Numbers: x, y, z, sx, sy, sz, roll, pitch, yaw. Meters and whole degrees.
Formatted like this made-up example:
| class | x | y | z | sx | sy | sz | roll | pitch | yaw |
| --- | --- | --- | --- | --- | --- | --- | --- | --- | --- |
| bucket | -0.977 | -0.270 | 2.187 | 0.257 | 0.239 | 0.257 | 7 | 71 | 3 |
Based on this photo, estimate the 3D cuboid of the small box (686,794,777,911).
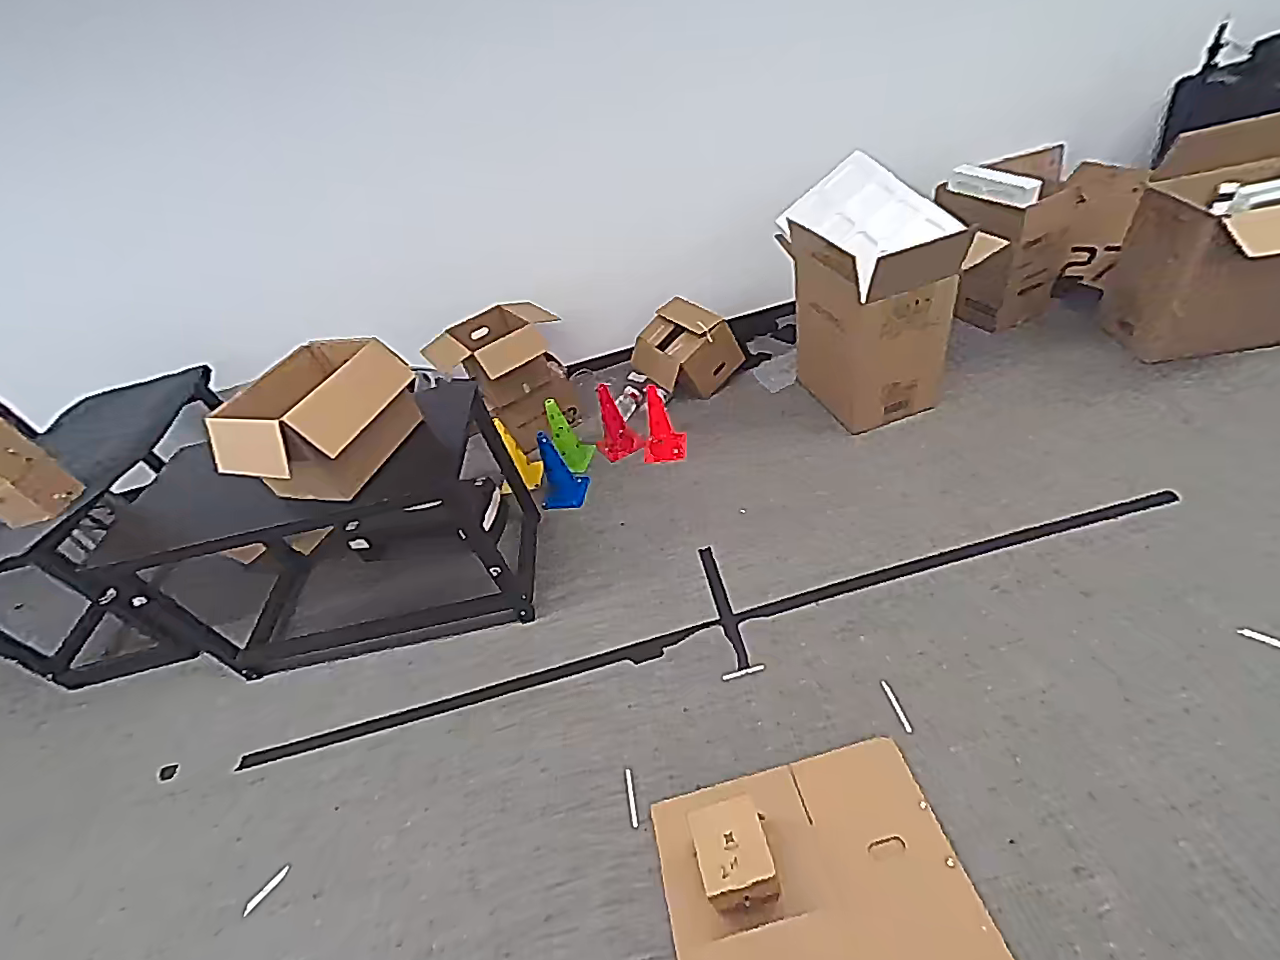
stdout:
| class | x | y | z | sx | sy | sz | roll | pitch | yaw |
| --- | --- | --- | --- | --- | --- | --- | --- | --- | --- |
| small box | 0.220 | 0.897 | 1.301 | 0.168 | 0.176 | 0.179 | -18 | 42 | 0 |
